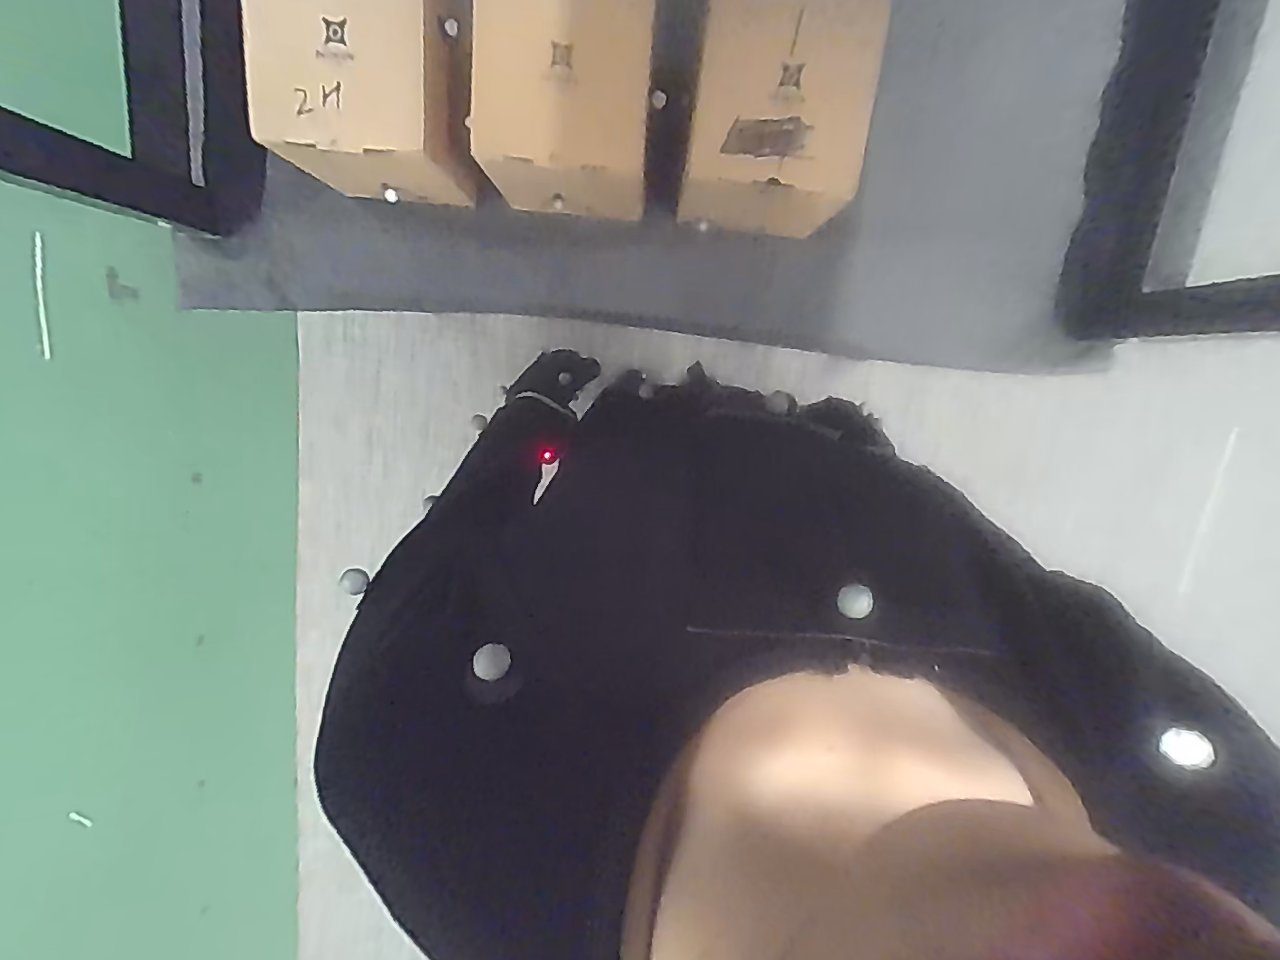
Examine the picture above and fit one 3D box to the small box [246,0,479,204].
[{"bbox_3d":[-0.277,-0.418,0.573,0.168,0.176,0.179,4,101,-1],"label":"small box"}]
